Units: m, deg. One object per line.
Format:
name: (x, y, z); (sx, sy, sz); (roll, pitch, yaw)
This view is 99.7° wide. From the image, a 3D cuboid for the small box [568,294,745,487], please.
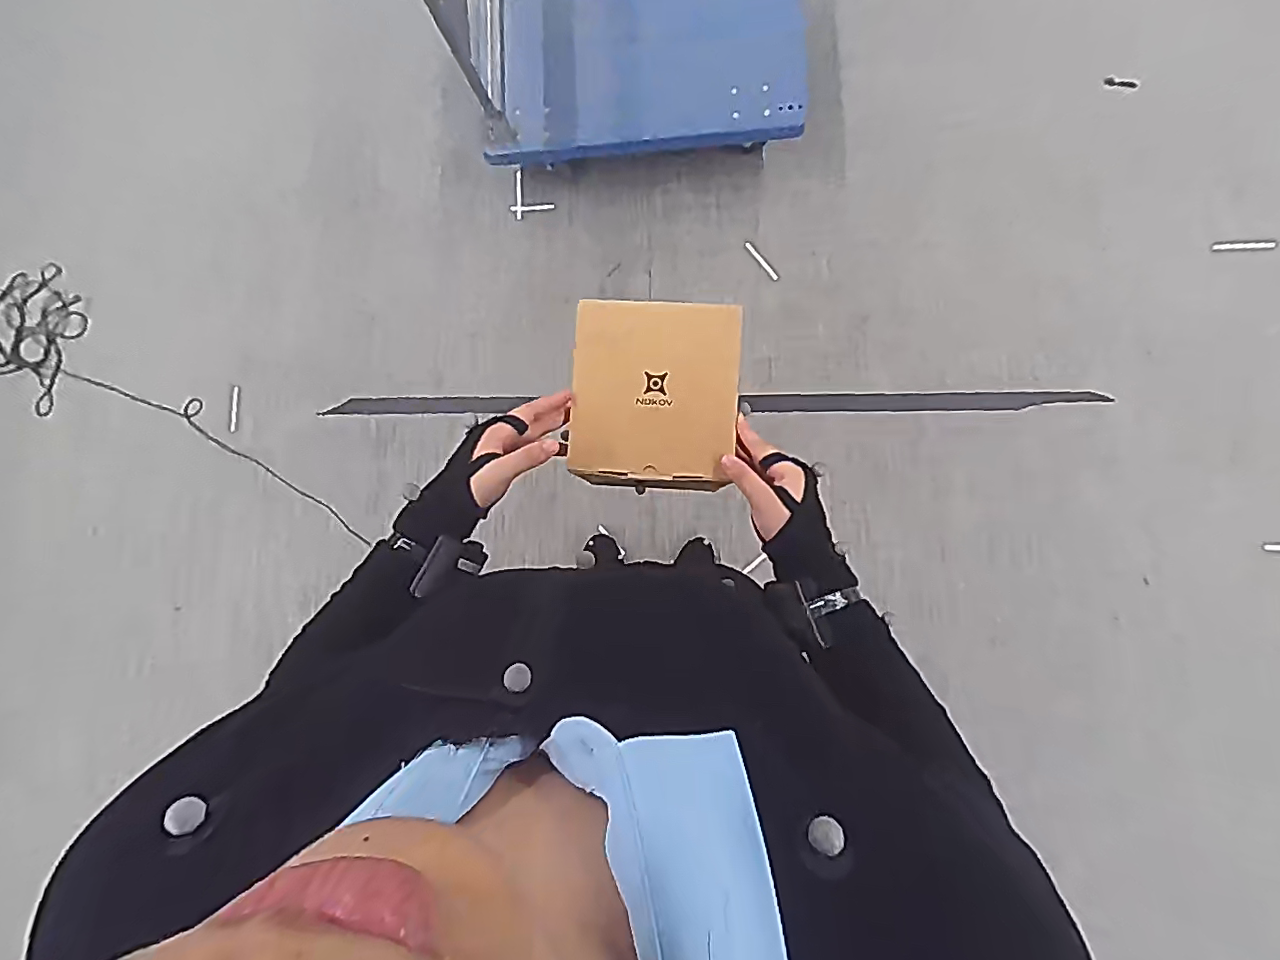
small box: (0.018, -0.088, 0.605); (0.168, 0.176, 0.179); (3, 87, 3)
